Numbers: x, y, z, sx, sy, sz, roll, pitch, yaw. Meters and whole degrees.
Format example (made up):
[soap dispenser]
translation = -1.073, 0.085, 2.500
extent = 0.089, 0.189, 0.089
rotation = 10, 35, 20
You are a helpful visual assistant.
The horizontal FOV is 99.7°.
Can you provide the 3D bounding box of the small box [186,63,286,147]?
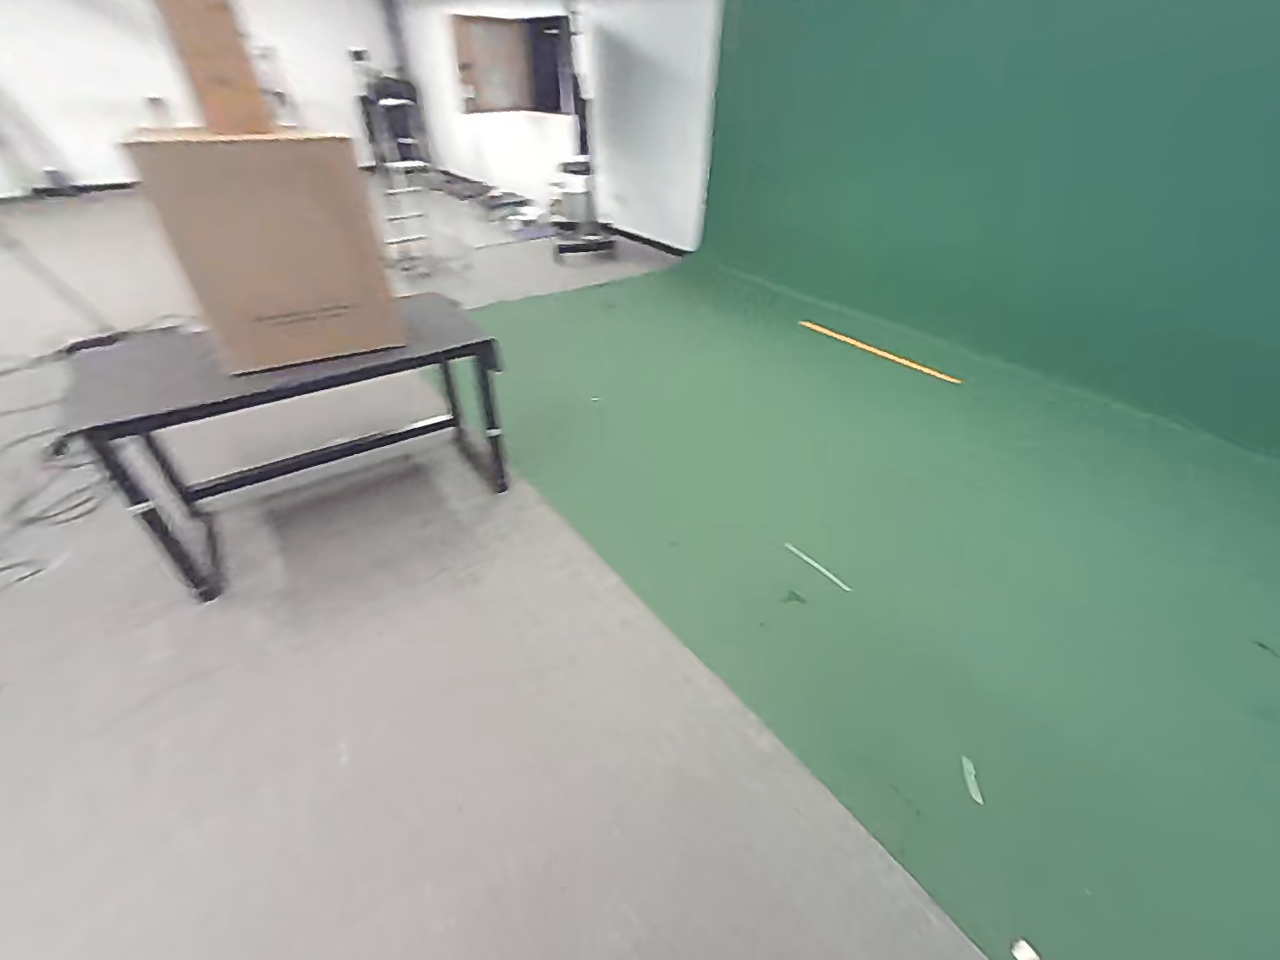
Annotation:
[small box]
translation = -1.081, -1.014, 1.464
extent = 0.179, 0.176, 0.168
rotation = -17, 43, -23
